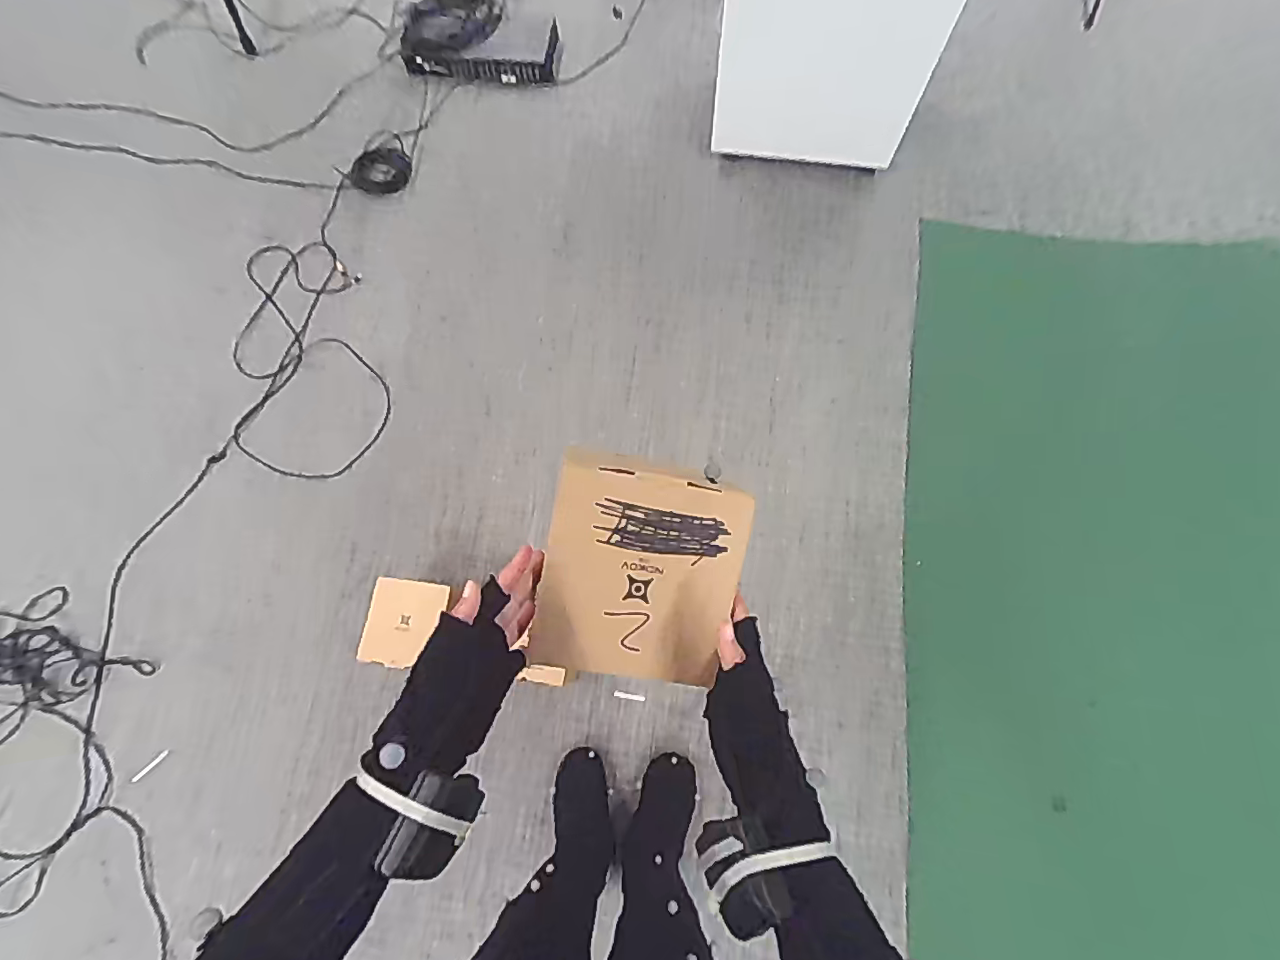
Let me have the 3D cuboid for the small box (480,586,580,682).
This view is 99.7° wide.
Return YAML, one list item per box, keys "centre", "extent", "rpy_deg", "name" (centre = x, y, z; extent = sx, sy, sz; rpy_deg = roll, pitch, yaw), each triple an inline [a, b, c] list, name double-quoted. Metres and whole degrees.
- centre: [-0.232, 0.339, 1.194]
  extent: [0.168, 0.176, 0.179]
  rpy_deg: [6, 73, 4]
  name: "small box"

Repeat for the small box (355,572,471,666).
- centre: [-0.497, 0.314, 1.214]
  extent: [0.168, 0.176, 0.179]
  rpy_deg: [7, 74, 5]
  name: "small box"
